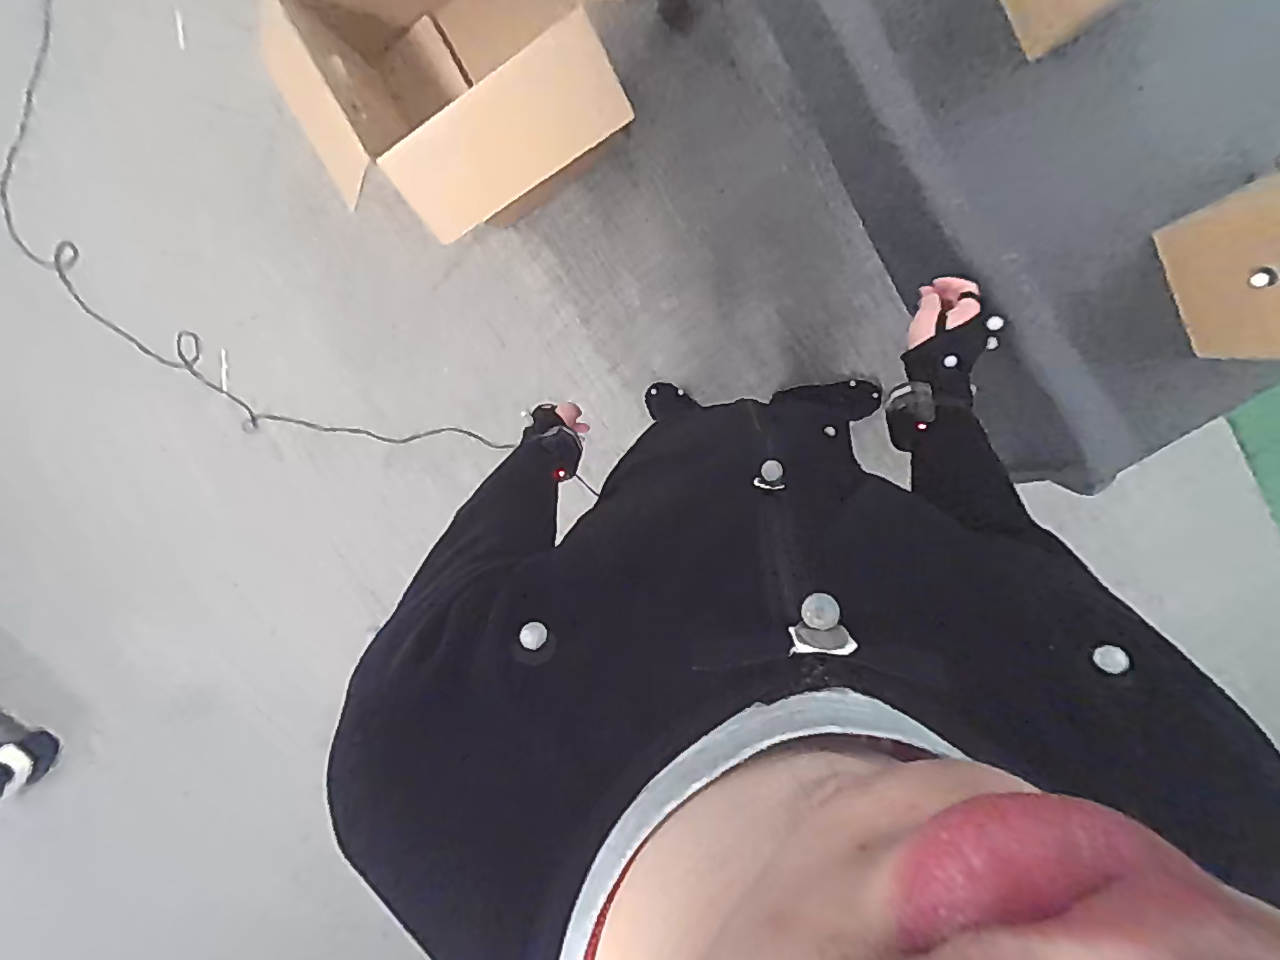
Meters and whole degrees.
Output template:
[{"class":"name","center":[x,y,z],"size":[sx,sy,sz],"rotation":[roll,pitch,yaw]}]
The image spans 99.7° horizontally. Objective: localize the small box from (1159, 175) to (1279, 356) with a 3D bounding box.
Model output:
[{"class":"small box","center":[0.738,-0.247,0.593],"size":[0.168,0.176,0.179],"rotation":[-27,100,12]}]

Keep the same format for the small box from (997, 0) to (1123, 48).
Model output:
[{"class":"small box","center":[0.478,-0.588,0.542],"size":[0.168,0.176,0.179],"rotation":[-31,99,12]}]
